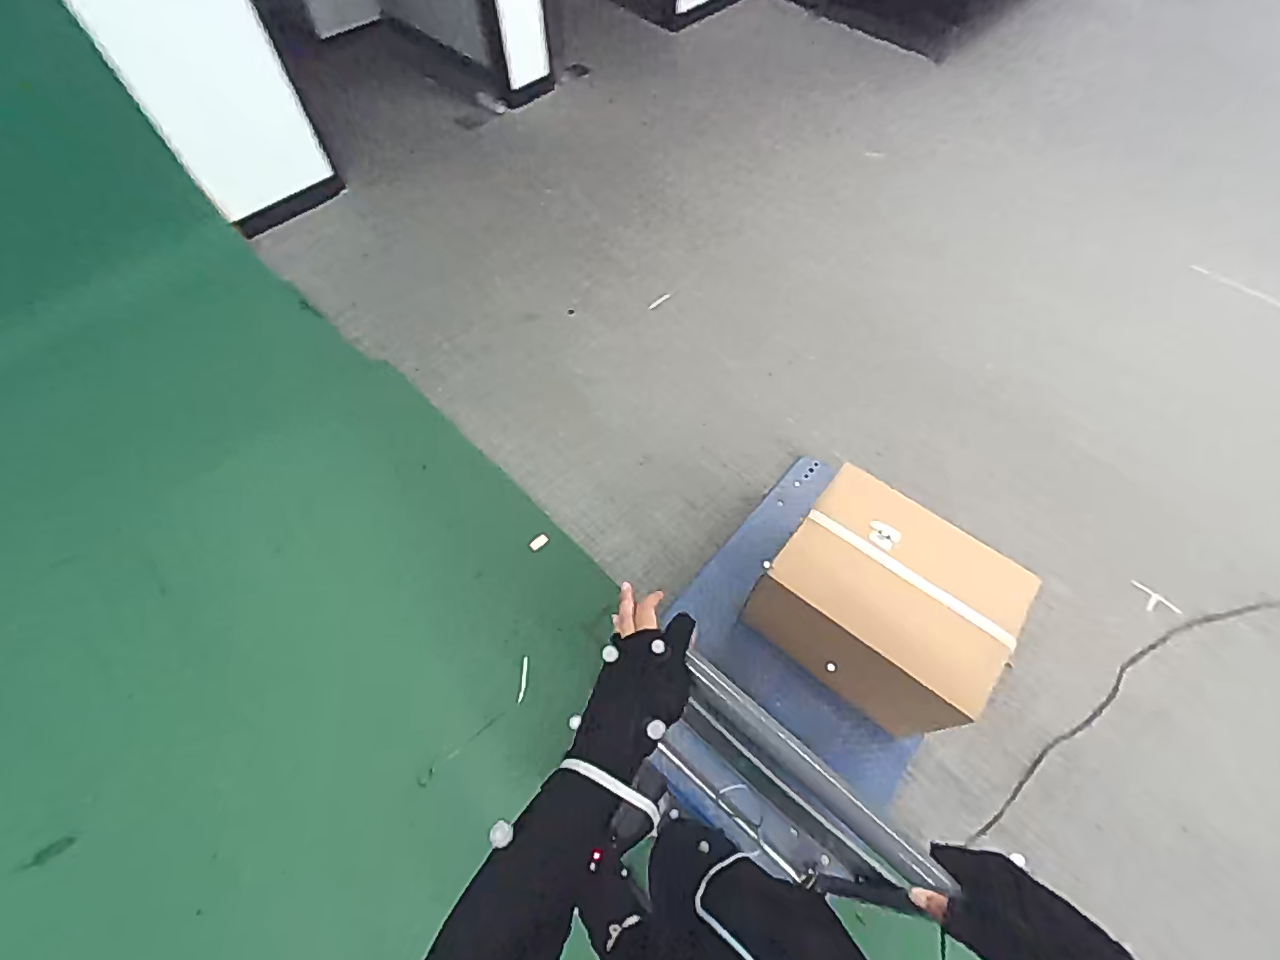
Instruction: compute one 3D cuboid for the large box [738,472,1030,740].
[{"bbox_3d":[0.469,0.264,1.116,0.408,0.320,0.320,35,65,20],"label":"large box"}]
